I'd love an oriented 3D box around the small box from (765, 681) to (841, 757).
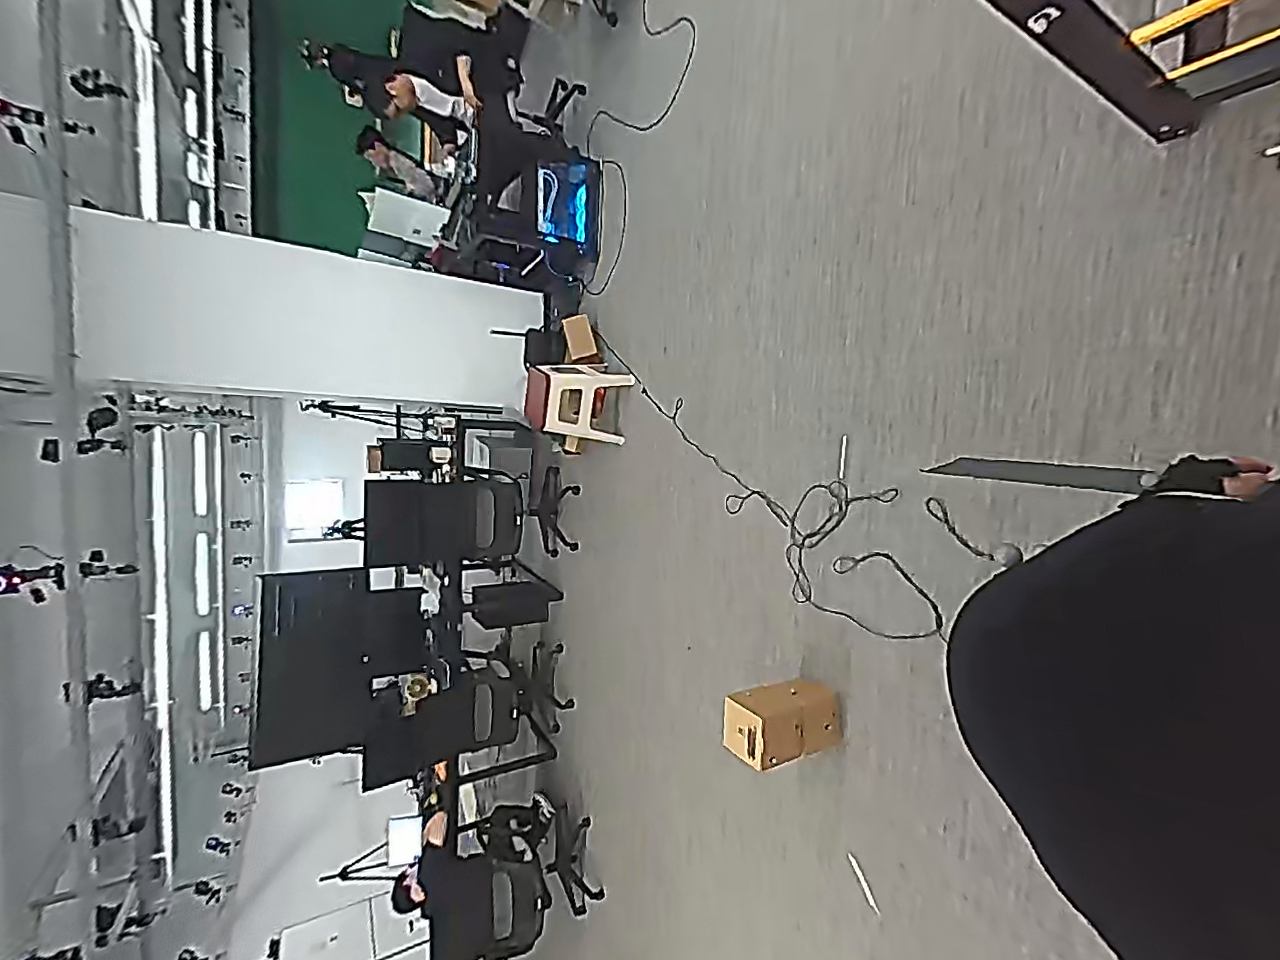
[{"bbox_3d":[0.533,0.776,1.777,0.179,0.176,0.168,-2,89,59],"label":"small box"}]
